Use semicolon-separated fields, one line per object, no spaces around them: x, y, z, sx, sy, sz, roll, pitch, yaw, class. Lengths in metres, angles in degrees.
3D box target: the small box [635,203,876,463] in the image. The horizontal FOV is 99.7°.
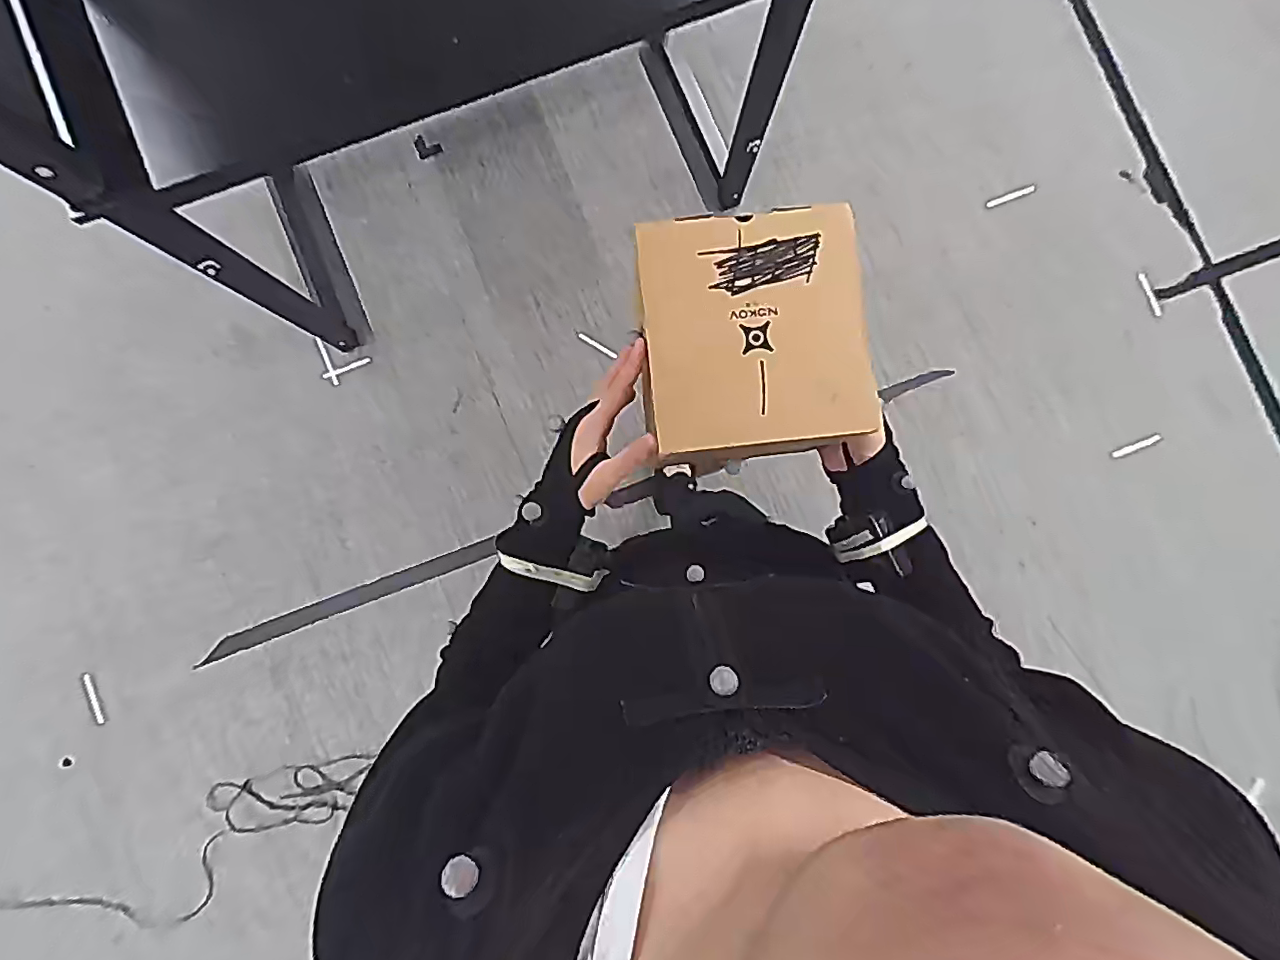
0.085;-0.114;0.484;0.168;0.176;0.179;-6;88;-2;small box
